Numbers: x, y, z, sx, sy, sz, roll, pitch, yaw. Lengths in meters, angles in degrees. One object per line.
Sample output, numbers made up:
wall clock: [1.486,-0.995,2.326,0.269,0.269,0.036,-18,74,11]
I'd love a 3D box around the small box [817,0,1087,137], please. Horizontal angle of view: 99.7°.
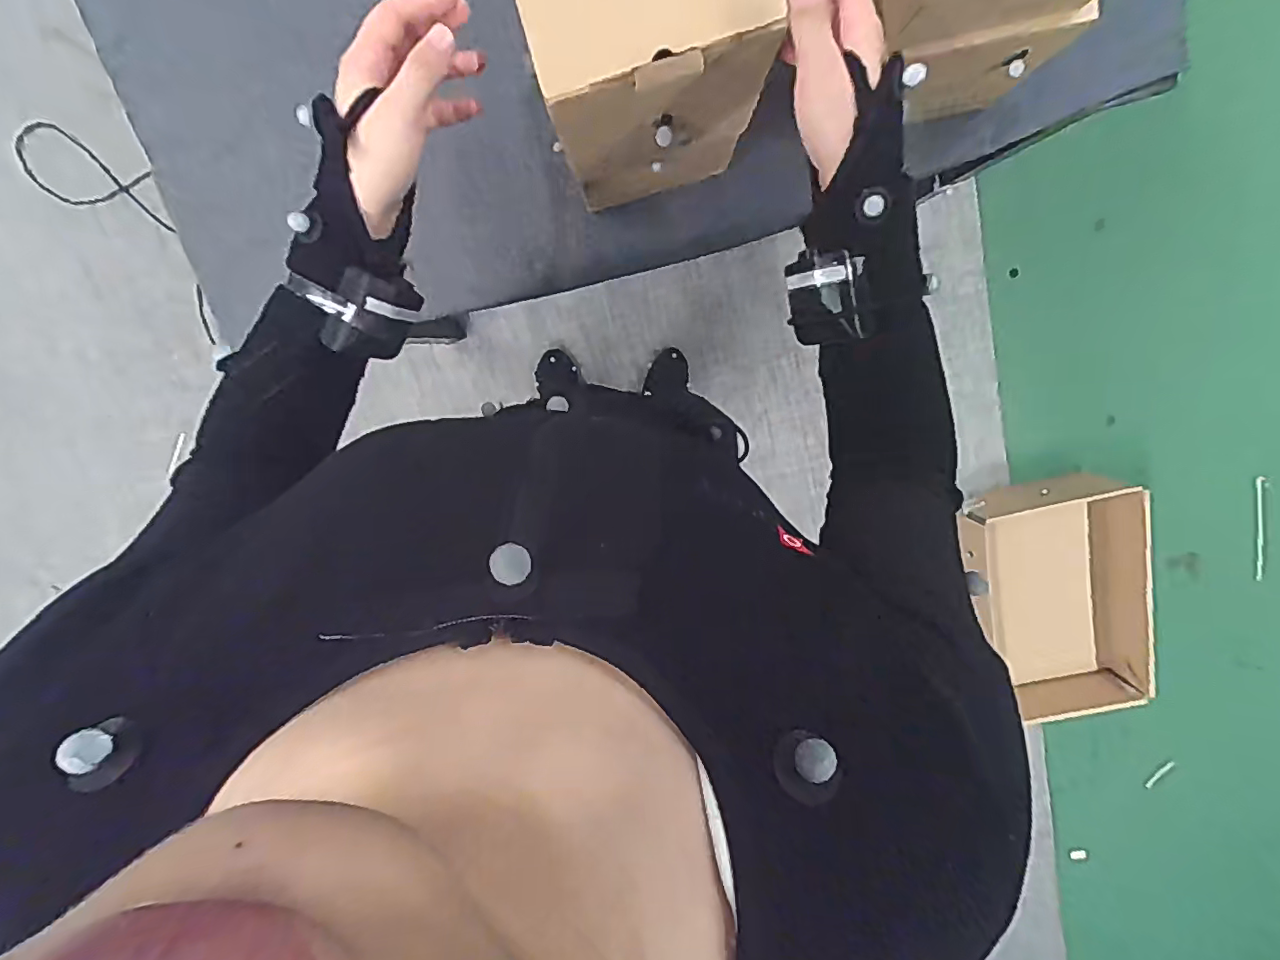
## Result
small box: [0.296,-0.478,0.542,0.179,0.176,0.168,-10,101,3]

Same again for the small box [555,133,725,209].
small box: [-0.010,-0.406,0.564,0.179,0.176,0.168,-15,103,3]

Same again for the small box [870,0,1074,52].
small box: [0.278,-0.451,0.380,0.179,0.176,0.168,-11,102,4]

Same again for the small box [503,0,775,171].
small box: [-0.011,-0.359,0.406,0.168,0.176,0.179,-15,103,4]
